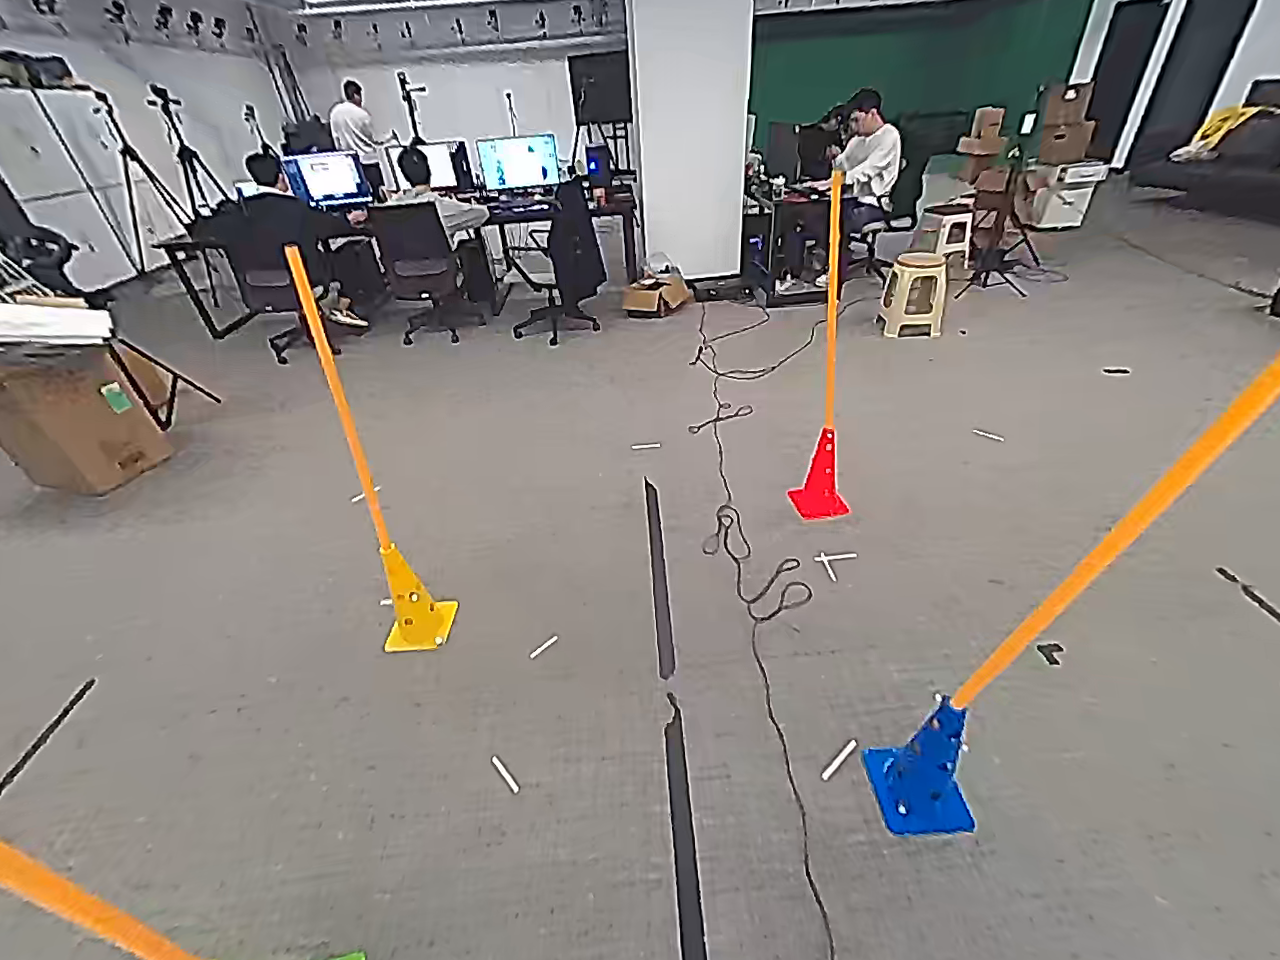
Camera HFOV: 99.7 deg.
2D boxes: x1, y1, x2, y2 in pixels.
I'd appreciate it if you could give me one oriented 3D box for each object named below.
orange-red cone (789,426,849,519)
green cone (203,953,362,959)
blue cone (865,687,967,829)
[{"bbox_3d":[0.713,-0.048,2.109,0.199,0.360,0.198,-9,34,-3],"label":"orange-red cone"},{"bbox_3d":[-0.649,0.904,0.923,0.200,0.368,0.202,-11,33,-9],"label":"green cone"},{"bbox_3d":[0.651,0.601,1.210,0.193,0.380,0.192,-3,34,2],"label":"blue cone"}]
